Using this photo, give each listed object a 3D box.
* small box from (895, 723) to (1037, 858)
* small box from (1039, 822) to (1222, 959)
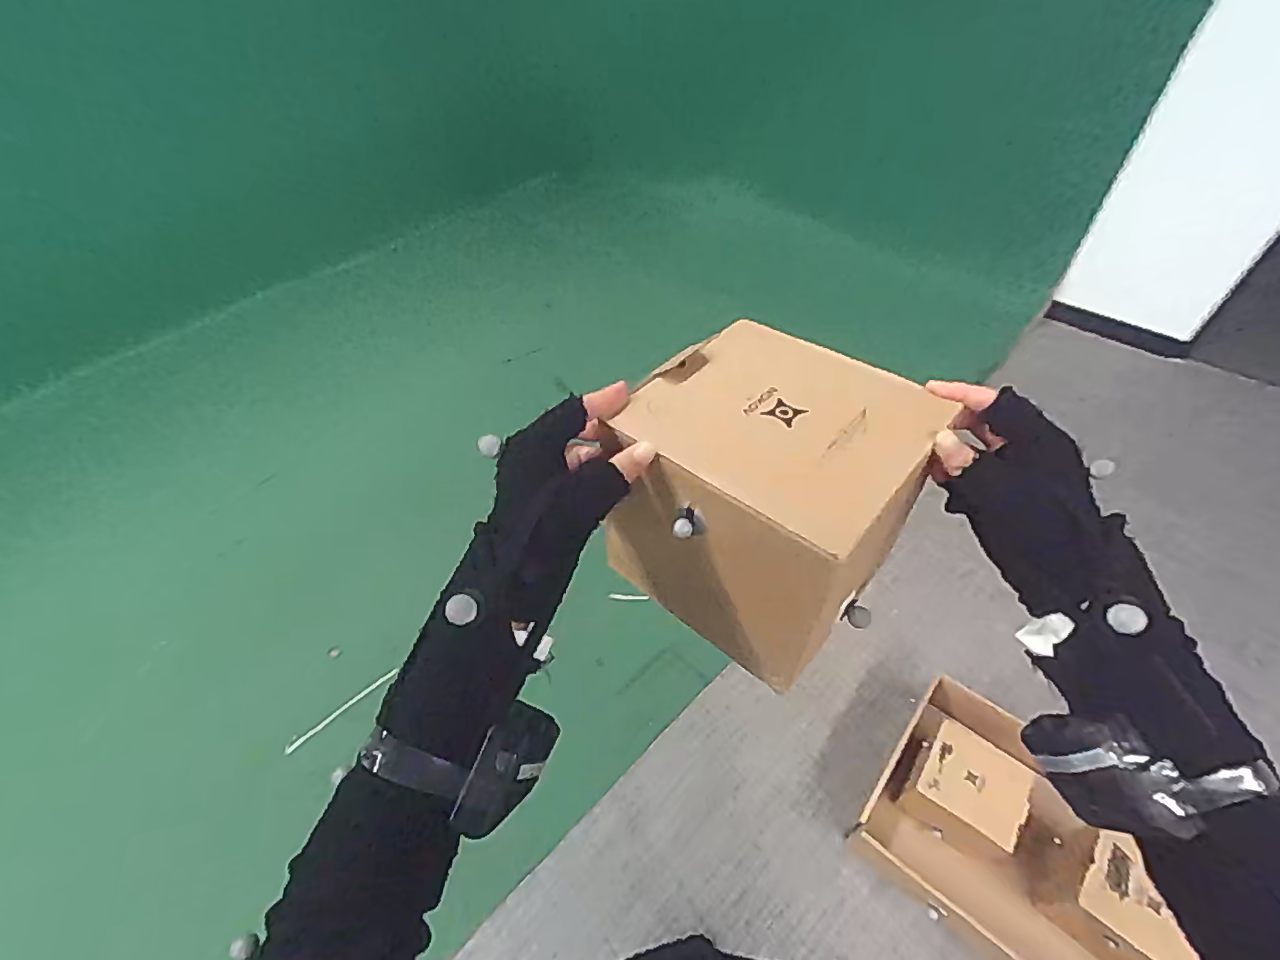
[{"bbox_3d":[0.662,0.642,1.114,0.179,0.176,0.168,30,58,26],"label":"small box"},{"bbox_3d":[0.874,0.771,0.981,0.179,0.176,0.168,33,61,30],"label":"small box"}]
